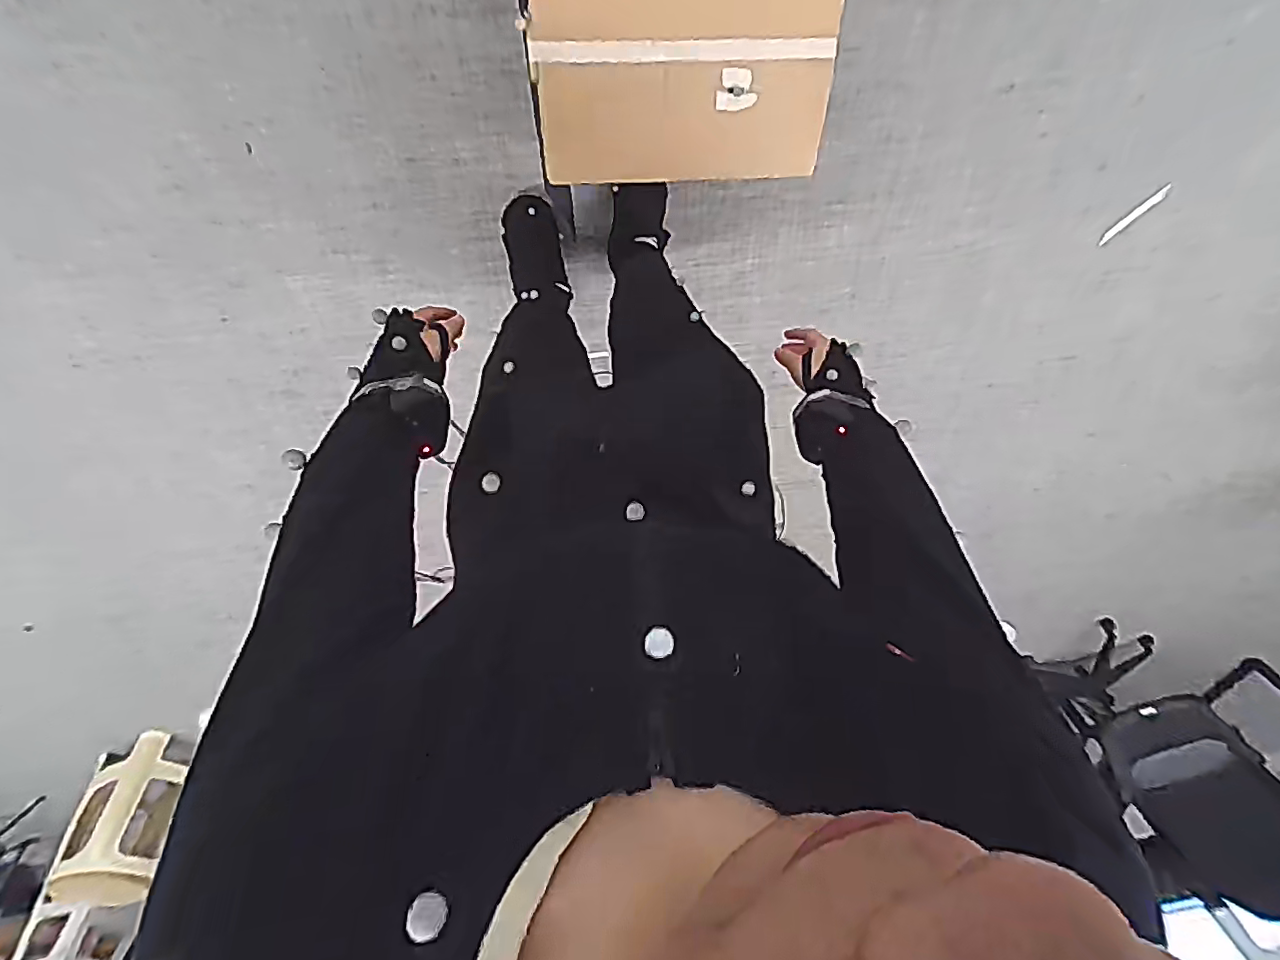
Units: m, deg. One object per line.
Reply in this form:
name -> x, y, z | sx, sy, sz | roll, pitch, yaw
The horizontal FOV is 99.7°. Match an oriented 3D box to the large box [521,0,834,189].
large box -> 0.032, -0.660, 0.825 | 0.408, 0.320, 0.320 | -6, 132, -7
